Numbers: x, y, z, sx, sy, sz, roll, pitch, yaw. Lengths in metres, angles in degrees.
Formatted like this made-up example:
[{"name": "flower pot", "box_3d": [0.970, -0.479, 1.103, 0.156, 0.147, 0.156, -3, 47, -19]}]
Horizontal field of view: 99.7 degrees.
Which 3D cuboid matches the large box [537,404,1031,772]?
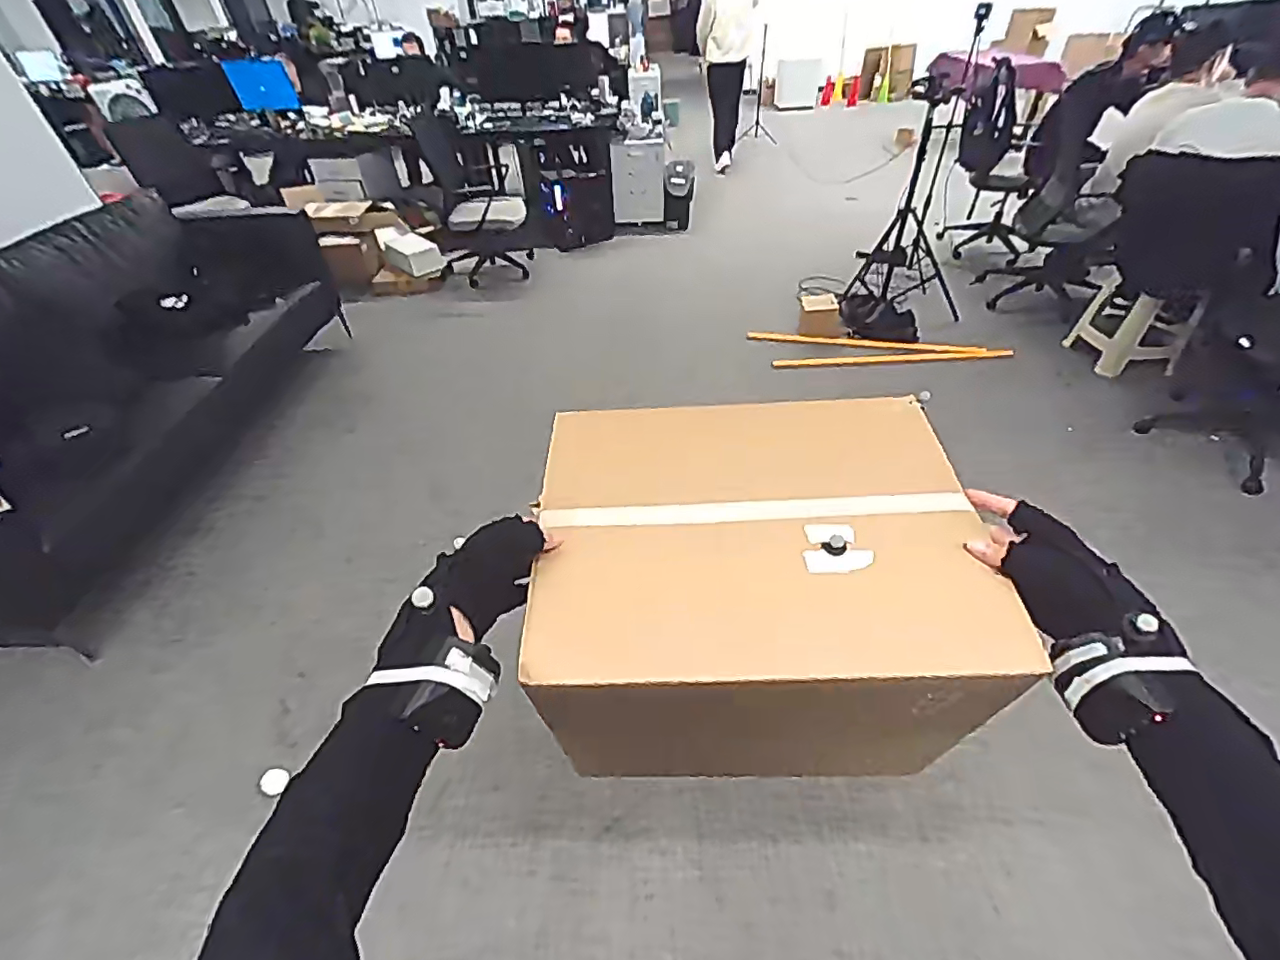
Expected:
[{"name": "large box", "box_3d": [0.116, 0.133, 0.638, 0.408, 0.320, 0.320, -2, 50, 2]}]
